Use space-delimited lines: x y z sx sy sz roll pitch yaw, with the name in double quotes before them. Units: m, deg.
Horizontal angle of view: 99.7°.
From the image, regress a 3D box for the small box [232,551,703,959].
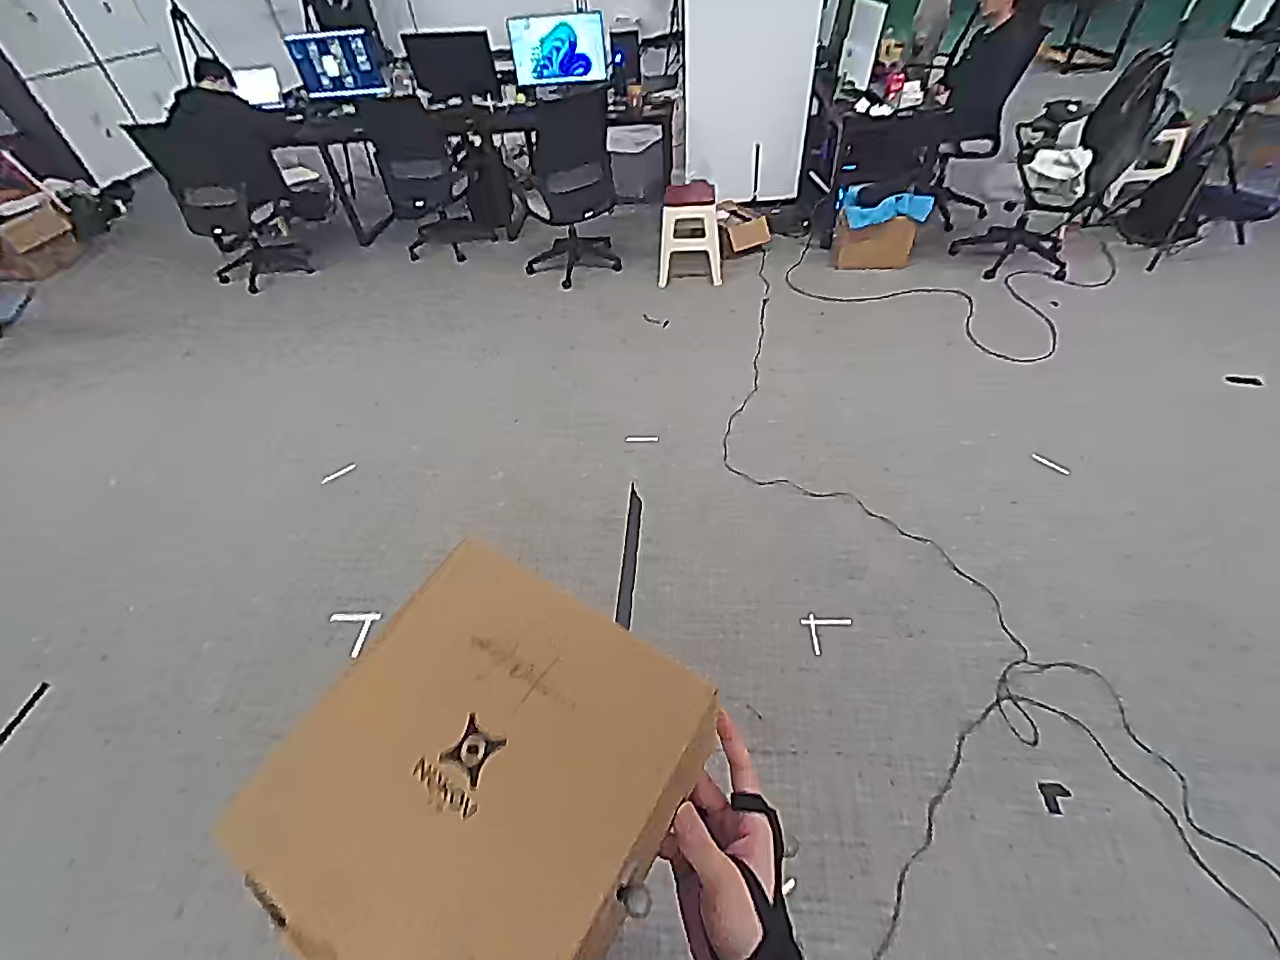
"small box" -0.071 0.181 0.324 0.168 0.176 0.179 25 63 21
